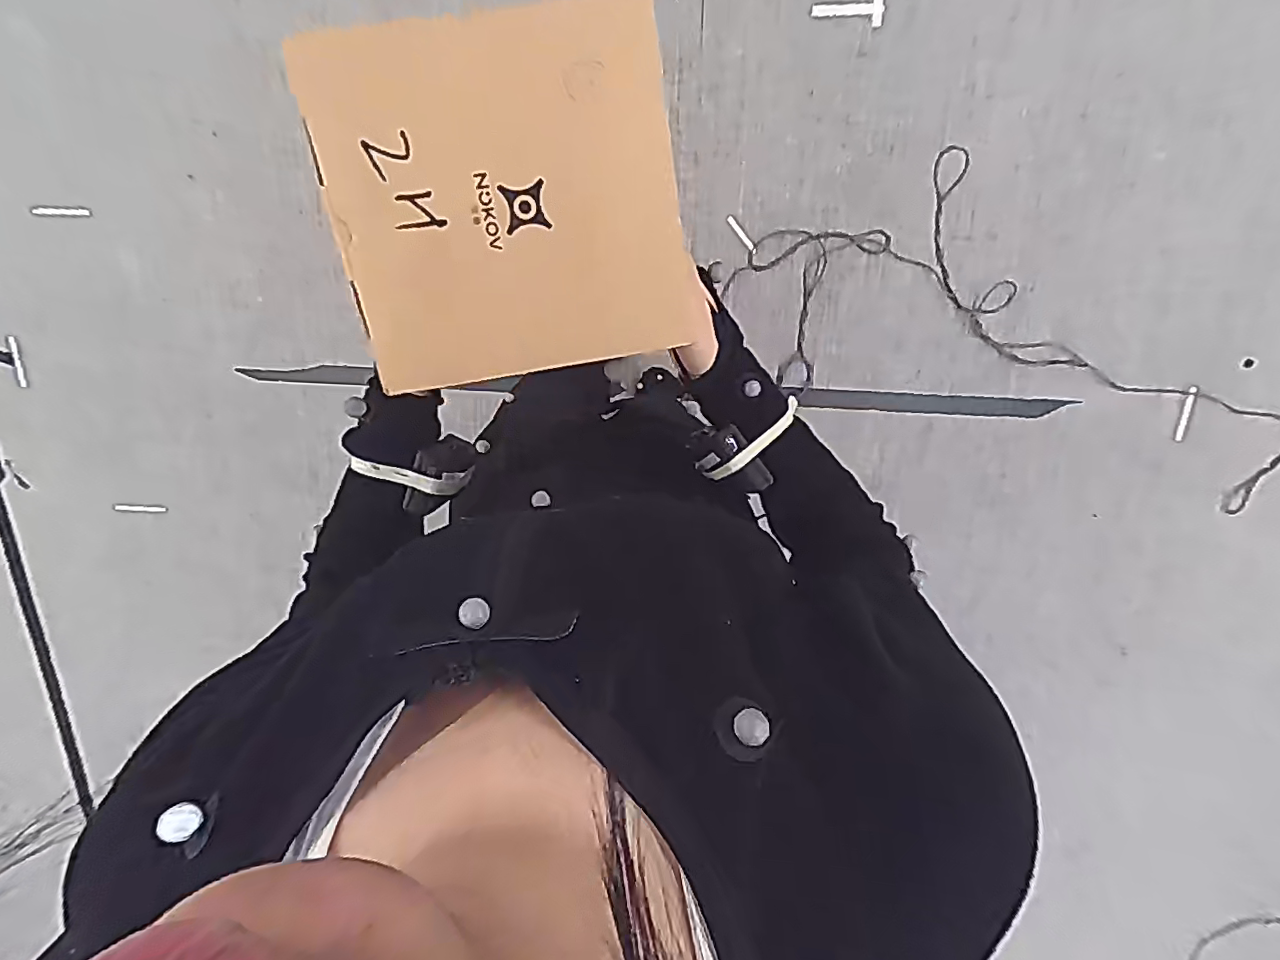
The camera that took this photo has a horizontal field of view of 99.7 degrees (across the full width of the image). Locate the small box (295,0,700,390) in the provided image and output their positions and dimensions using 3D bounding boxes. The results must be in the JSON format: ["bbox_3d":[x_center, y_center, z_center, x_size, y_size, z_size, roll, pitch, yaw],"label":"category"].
[{"bbox_3d":[-0.071,-0.162,0.351,0.179,0.176,0.168,-10,107,-3],"label":"small box"}]
